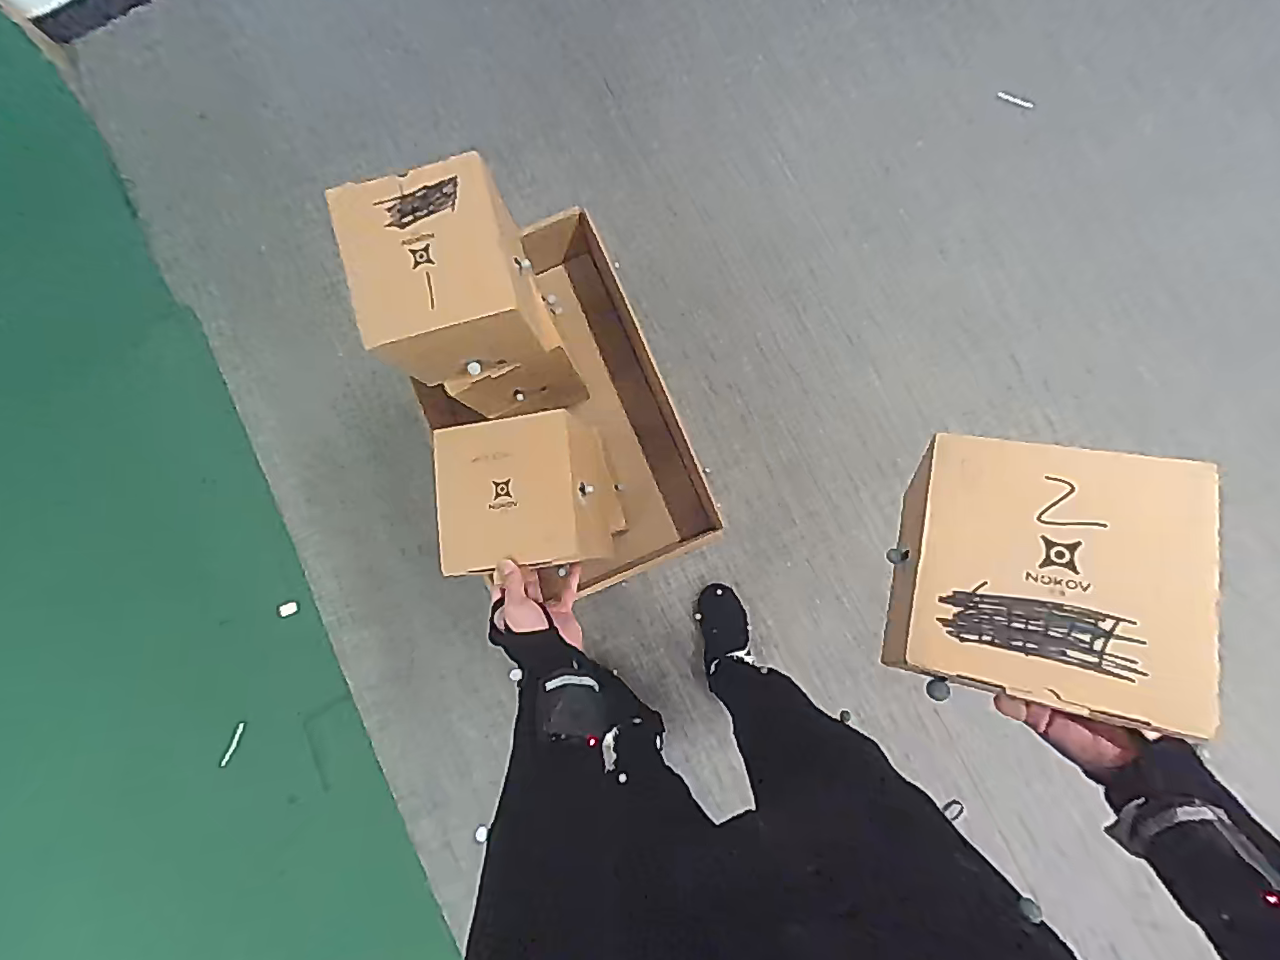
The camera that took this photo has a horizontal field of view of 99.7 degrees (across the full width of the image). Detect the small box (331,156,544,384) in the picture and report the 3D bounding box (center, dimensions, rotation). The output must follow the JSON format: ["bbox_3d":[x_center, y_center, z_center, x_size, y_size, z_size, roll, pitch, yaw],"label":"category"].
[{"bbox_3d":[-0.224,-0.232,0.639,0.168,0.176,0.179,-15,87,1],"label":"small box"}]

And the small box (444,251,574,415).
[{"bbox_3d":[-0.212,-0.217,0.803,0.168,0.176,0.179,-24,86,0],"label":"small box"}]

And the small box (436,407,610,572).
[{"bbox_3d":[-0.141,0.020,0.700,0.168,0.176,0.179,-8,81,10],"label":"small box"}]

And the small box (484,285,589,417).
[{"bbox_3d":[-0.205,-0.208,0.964,0.168,0.176,0.179,-24,85,1],"label":"small box"}]
